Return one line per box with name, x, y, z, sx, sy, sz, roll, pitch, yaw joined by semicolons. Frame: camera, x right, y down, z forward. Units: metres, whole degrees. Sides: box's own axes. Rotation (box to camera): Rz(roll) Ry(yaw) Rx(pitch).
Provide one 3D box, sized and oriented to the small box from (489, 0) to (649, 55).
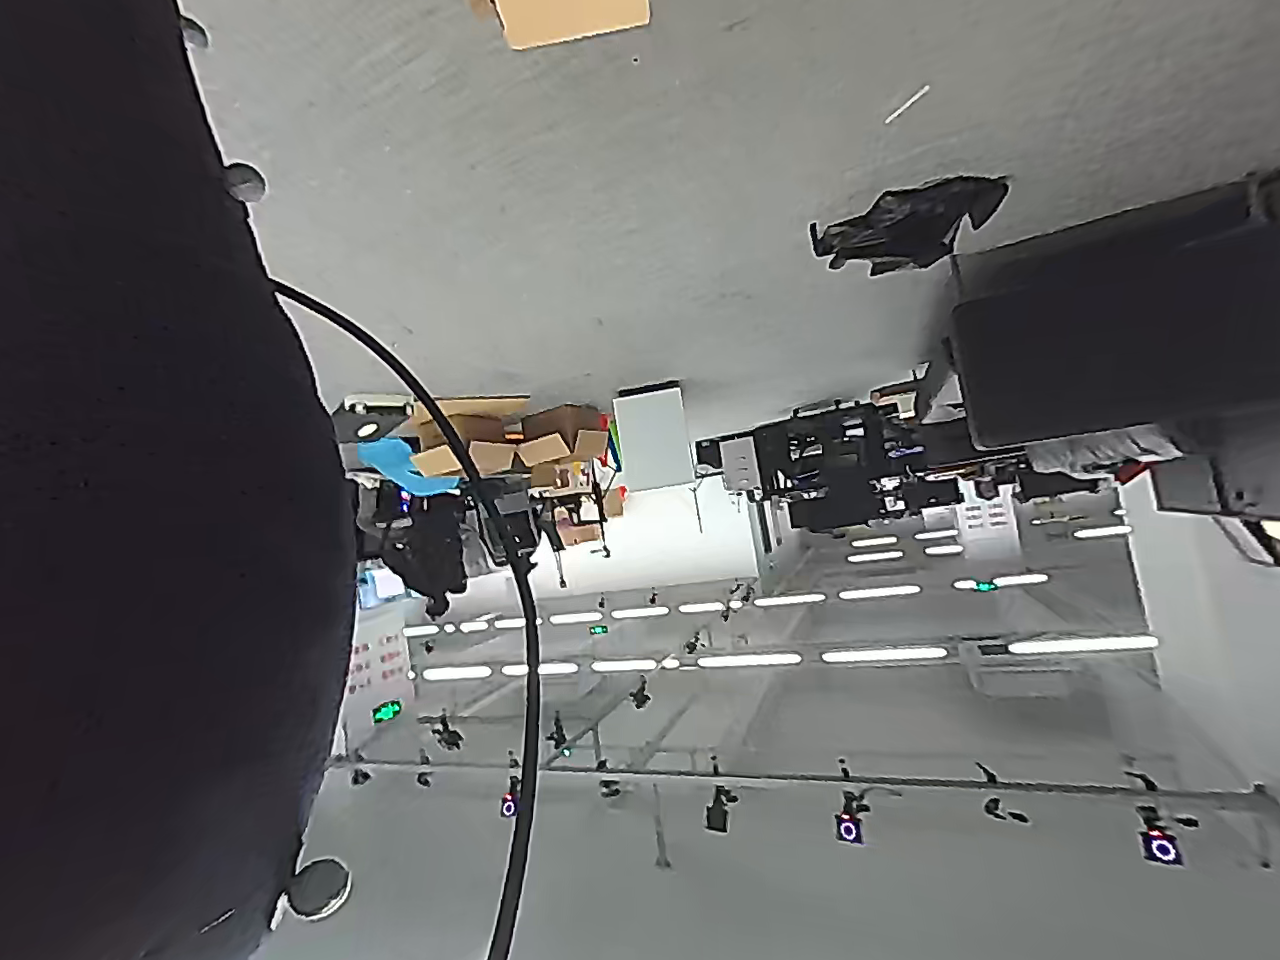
small box;-0.092;-0.611;0.574;0.179;0.176;0.168;-9;177;3
